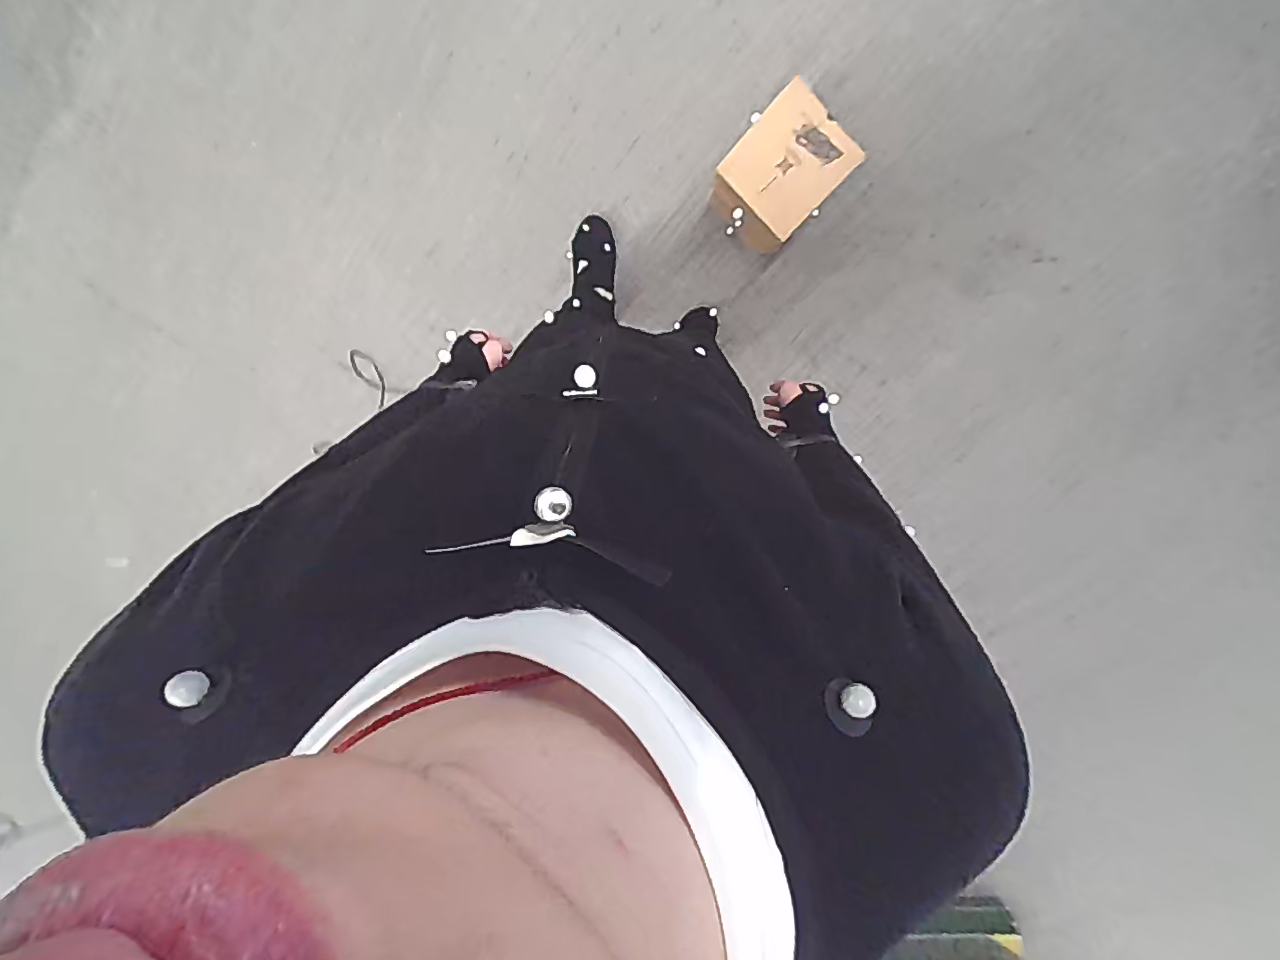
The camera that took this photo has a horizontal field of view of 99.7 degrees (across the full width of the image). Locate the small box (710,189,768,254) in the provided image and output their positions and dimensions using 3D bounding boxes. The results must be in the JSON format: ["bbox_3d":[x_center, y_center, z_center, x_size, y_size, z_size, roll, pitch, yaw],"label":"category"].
[{"bbox_3d":[0.279,-0.652,1.255,0.179,0.176,0.168,43,109,-12],"label":"small box"}]

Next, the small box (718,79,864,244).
[{"bbox_3d":[0.251,-0.541,0.949,0.168,0.176,0.179,43,110,-11],"label":"small box"}]

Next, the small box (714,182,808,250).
[{"bbox_3d":[0.267,-0.592,1.105,0.179,0.176,0.168,40,110,-12],"label":"small box"}]
